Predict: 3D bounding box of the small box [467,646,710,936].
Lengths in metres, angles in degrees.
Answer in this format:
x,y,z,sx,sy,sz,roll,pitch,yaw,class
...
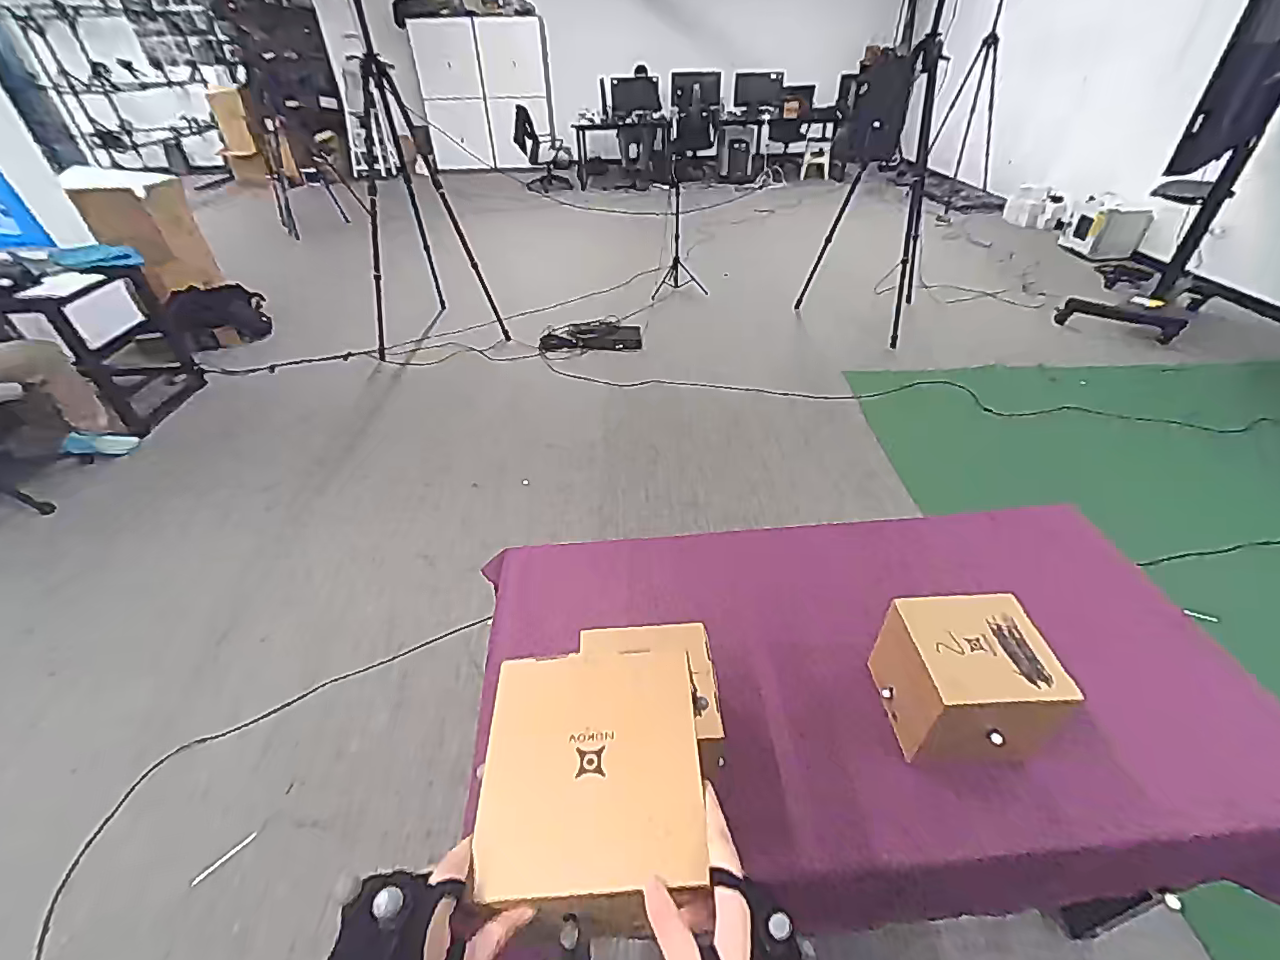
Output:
x,y,z,sx,sy,sz,roll,pitch,yaw,class
-0.031,0.271,0.469,0.168,0.176,0.179,-5,41,1,small box

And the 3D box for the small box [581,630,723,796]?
x,y,z,sx,sy,sz,roll,pitch,yaw,class
0.009,0.327,0.743,0.179,0.176,0.168,-3,38,-1,small box
